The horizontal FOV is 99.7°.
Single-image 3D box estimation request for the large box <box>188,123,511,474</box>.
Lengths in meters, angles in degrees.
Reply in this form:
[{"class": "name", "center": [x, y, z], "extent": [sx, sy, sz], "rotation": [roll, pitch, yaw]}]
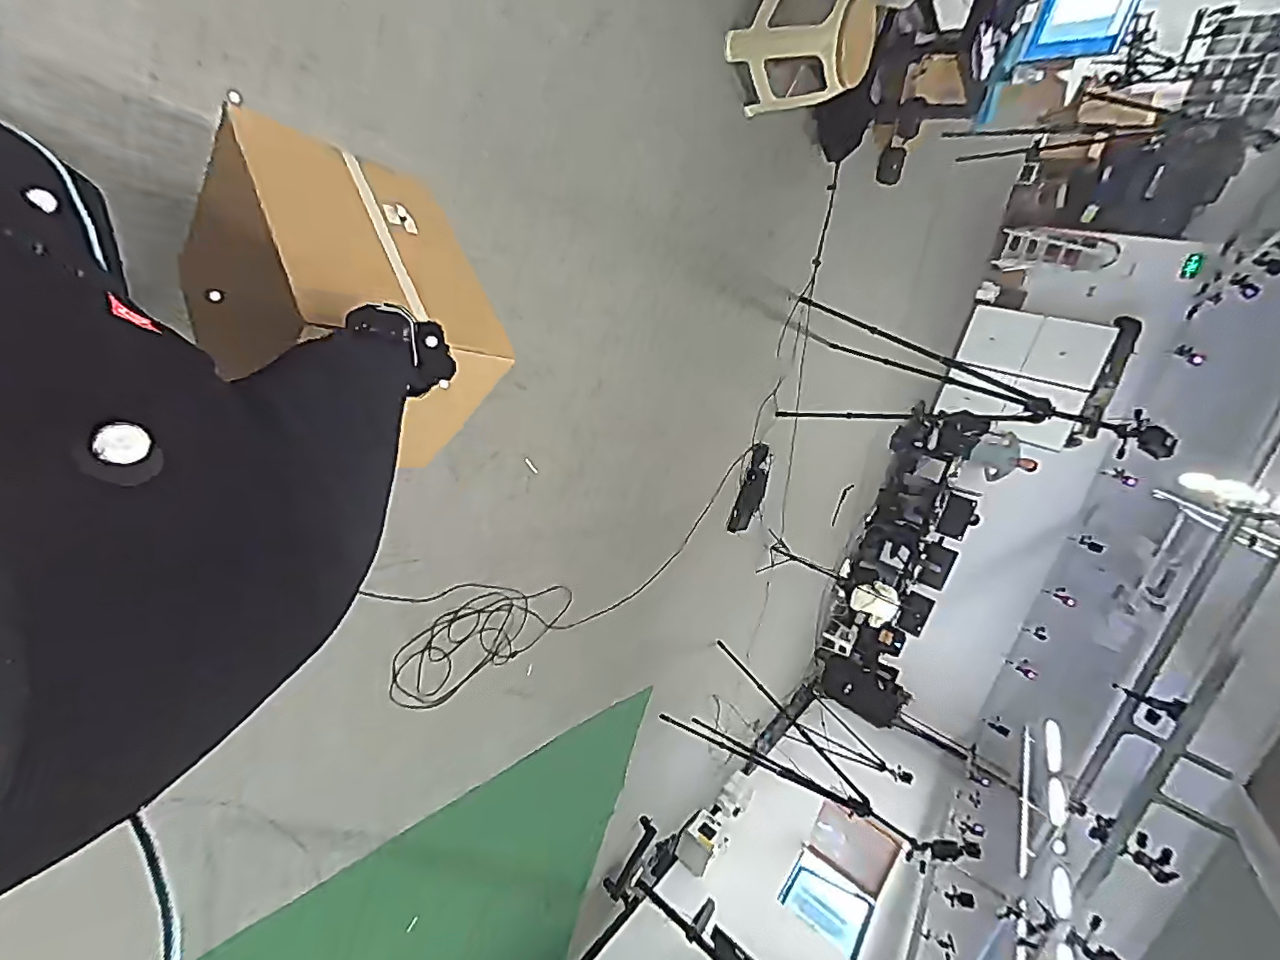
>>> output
[{"class": "large box", "center": [-0.485, -0.261, 0.891], "extent": [0.320, 0.408, 0.320], "rotation": [-41, 158, 31]}]
